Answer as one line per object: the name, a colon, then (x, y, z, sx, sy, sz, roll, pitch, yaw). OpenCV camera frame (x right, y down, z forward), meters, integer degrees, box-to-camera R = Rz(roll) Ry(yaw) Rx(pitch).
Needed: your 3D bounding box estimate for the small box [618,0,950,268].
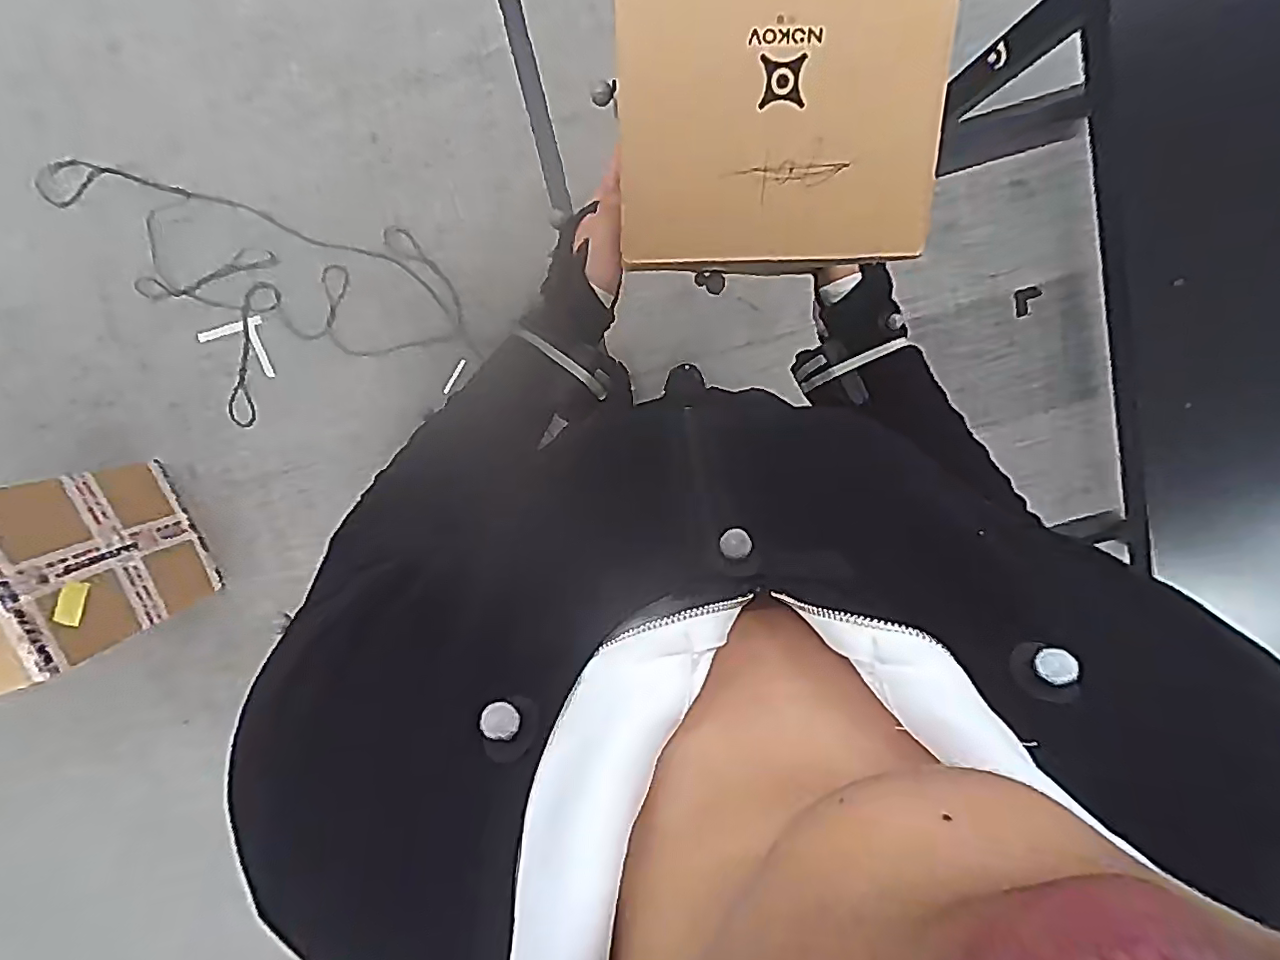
small box: (0.070, -0.235, 0.350, 0.168, 0.176, 0.179, -2, 111, 0)
